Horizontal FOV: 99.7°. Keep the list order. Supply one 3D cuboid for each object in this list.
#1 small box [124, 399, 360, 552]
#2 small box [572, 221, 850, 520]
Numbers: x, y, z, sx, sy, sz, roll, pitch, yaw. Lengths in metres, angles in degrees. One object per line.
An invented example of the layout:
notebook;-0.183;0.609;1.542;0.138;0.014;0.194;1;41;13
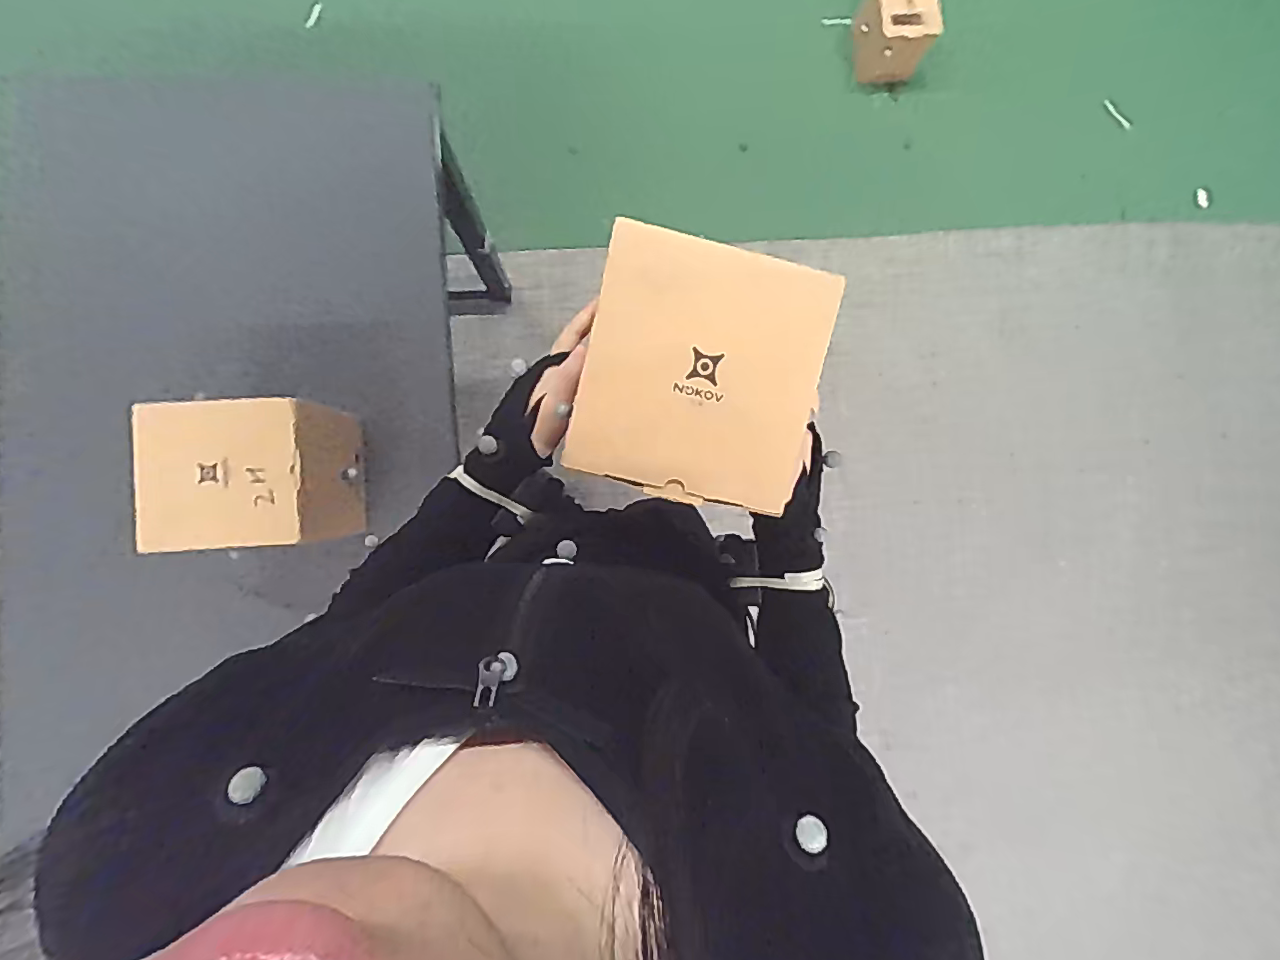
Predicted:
small box;-0.477;-0.003;0.671;0.179;0.176;0.168;-4;89;-4
small box;0.042;-0.083;0.455;0.168;0.176;0.179;13;97;-6
